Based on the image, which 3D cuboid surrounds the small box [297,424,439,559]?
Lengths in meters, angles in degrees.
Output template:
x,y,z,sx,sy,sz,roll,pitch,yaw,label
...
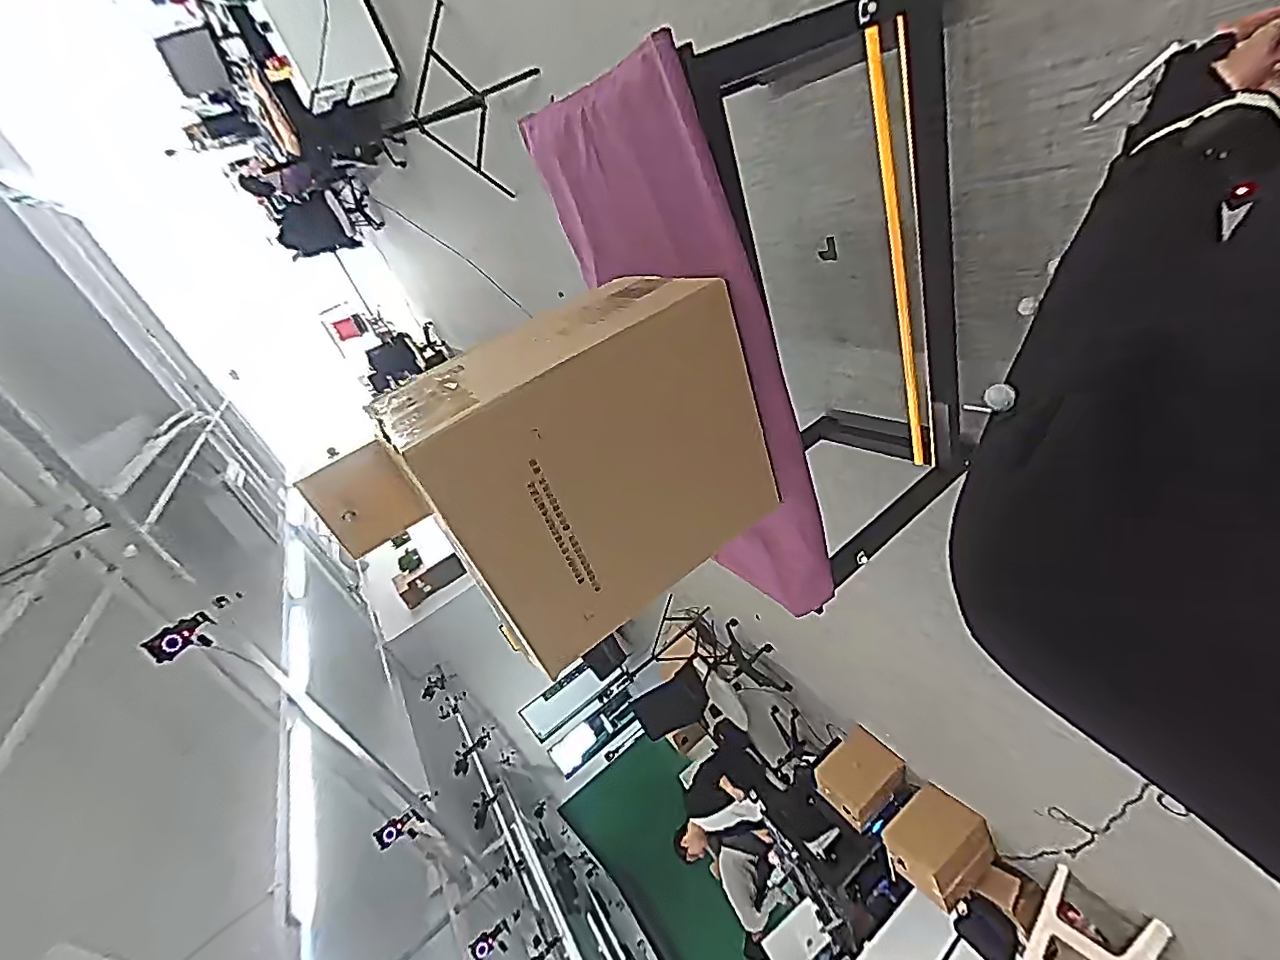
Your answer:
x,y,z,sx,sy,sz,roll,pitch,yaw,label
-0.514,0.012,1.027,0.168,0.176,0.179,24,145,57,small box
